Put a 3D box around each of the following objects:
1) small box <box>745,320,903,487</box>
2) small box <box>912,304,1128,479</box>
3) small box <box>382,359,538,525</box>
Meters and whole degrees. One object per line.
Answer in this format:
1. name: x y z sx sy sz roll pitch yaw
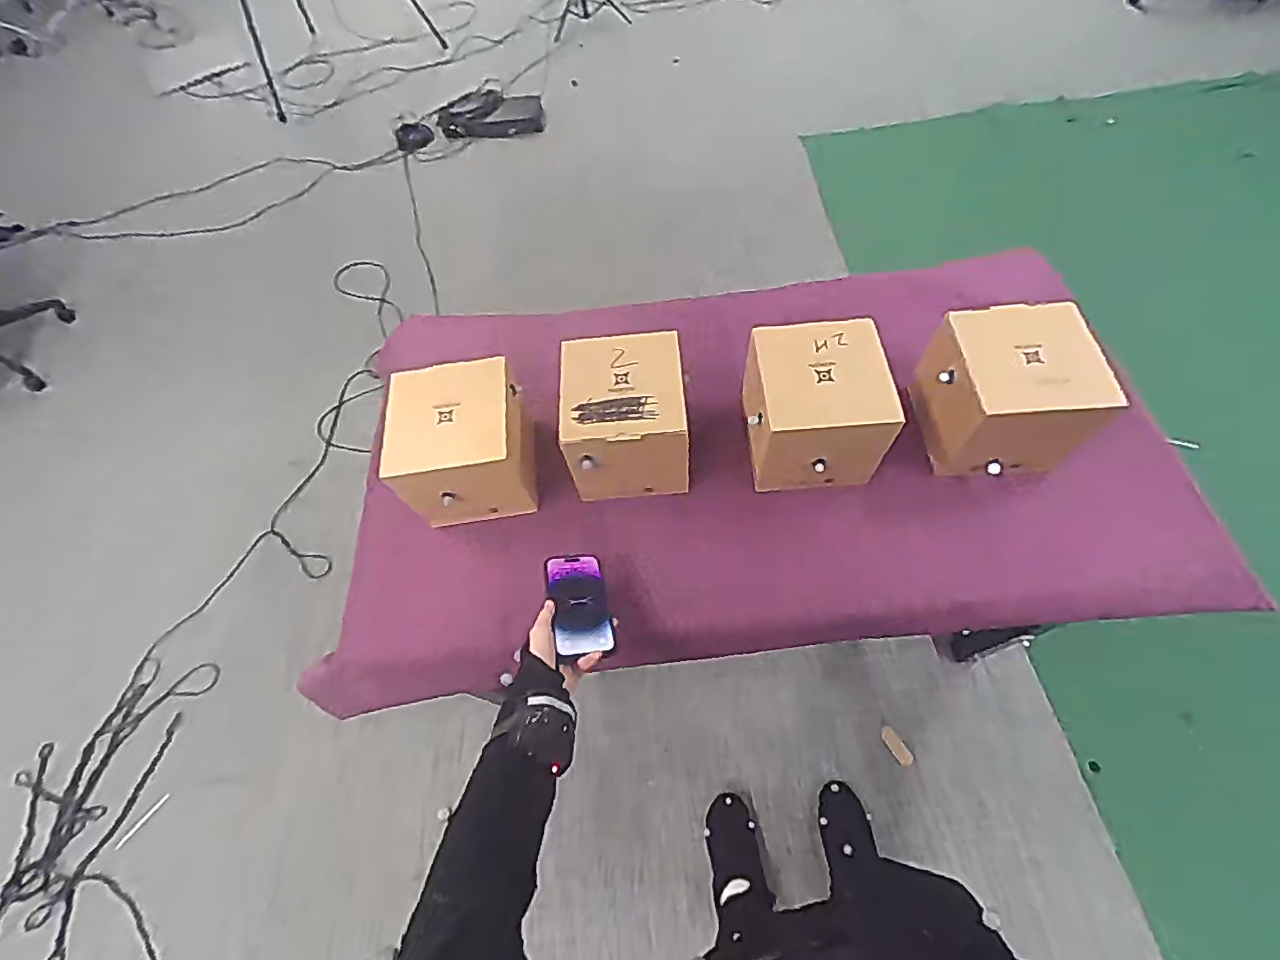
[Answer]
1. small box: 0.246 -0.099 0.771 0.168 0.176 0.179 -4 60 3
2. small box: 0.506 -0.119 0.758 0.168 0.176 0.179 -3 61 5
3. small box: -0.251 -0.045 0.792 0.168 0.176 0.179 -9 60 1
